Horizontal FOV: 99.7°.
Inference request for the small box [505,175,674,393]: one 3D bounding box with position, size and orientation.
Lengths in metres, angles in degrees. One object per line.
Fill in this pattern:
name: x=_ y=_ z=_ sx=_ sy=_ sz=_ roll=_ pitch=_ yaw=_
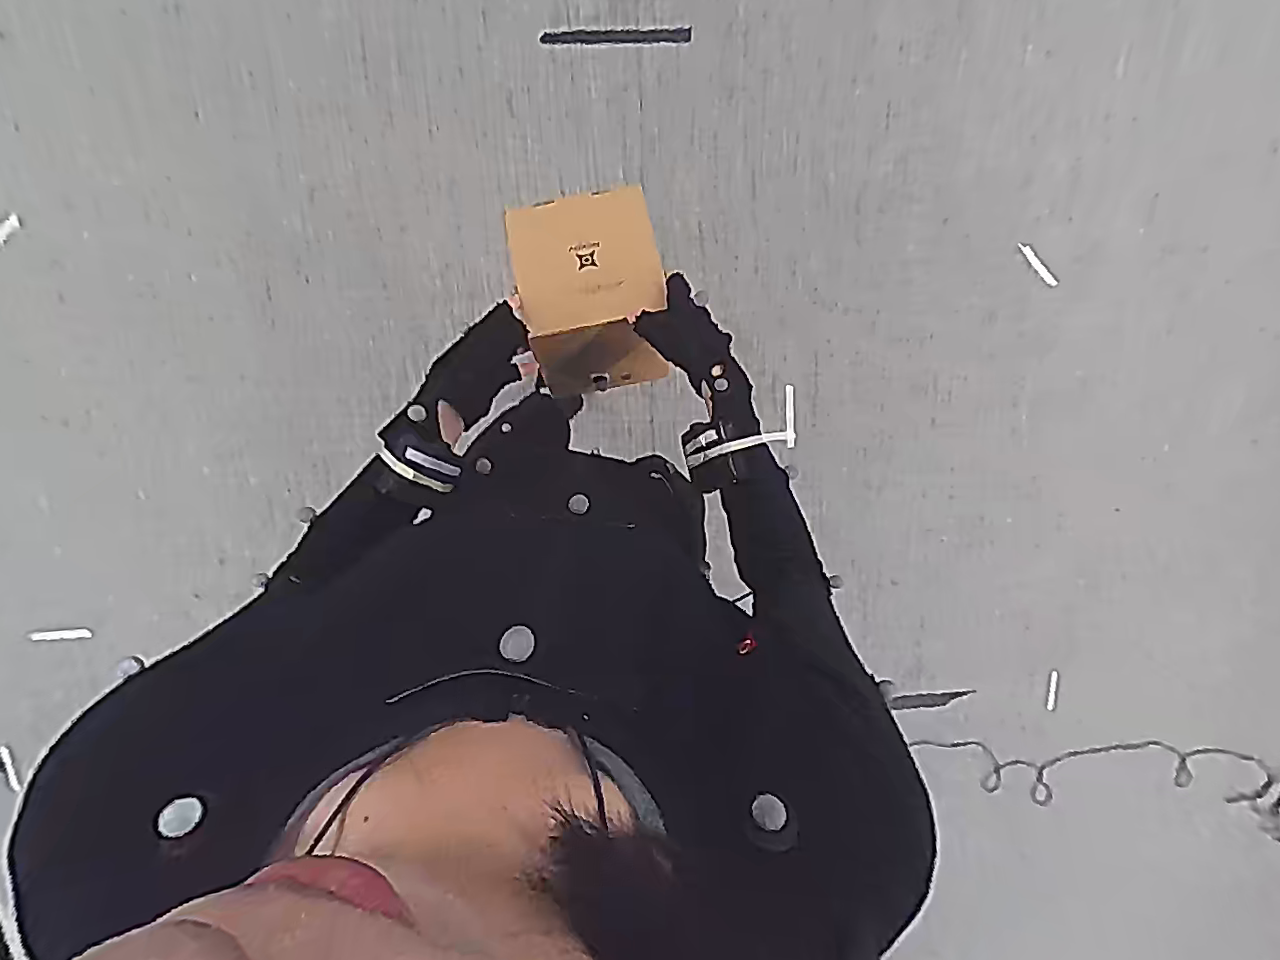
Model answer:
small box: x=-0.059 y=-0.234 z=0.675 sx=0.168 sy=0.176 sz=0.179 roll=-12 pitch=74 yaw=-1
